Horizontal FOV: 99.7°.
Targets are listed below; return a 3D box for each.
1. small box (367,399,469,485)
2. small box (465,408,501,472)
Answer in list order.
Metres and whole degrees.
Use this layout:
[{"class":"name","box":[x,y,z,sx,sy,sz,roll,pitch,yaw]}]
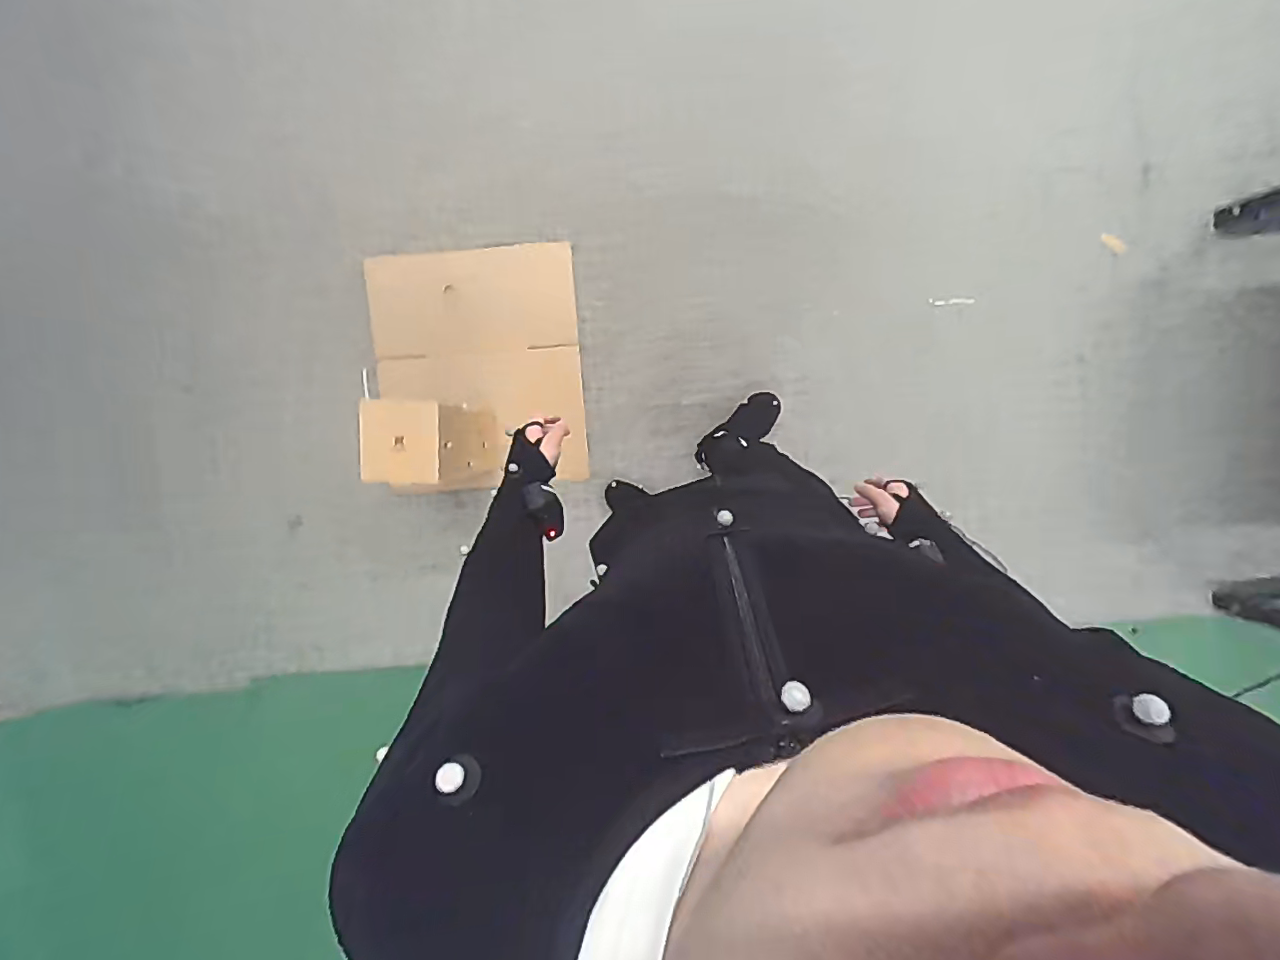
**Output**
[{"class":"small box","box":[-0.493,-0.088,1.220,0.168,0.176,0.179,2,96,1]},{"class":"small box","box":[-0.501,-0.117,1.546,0.168,0.176,0.179,0,95,1]}]
